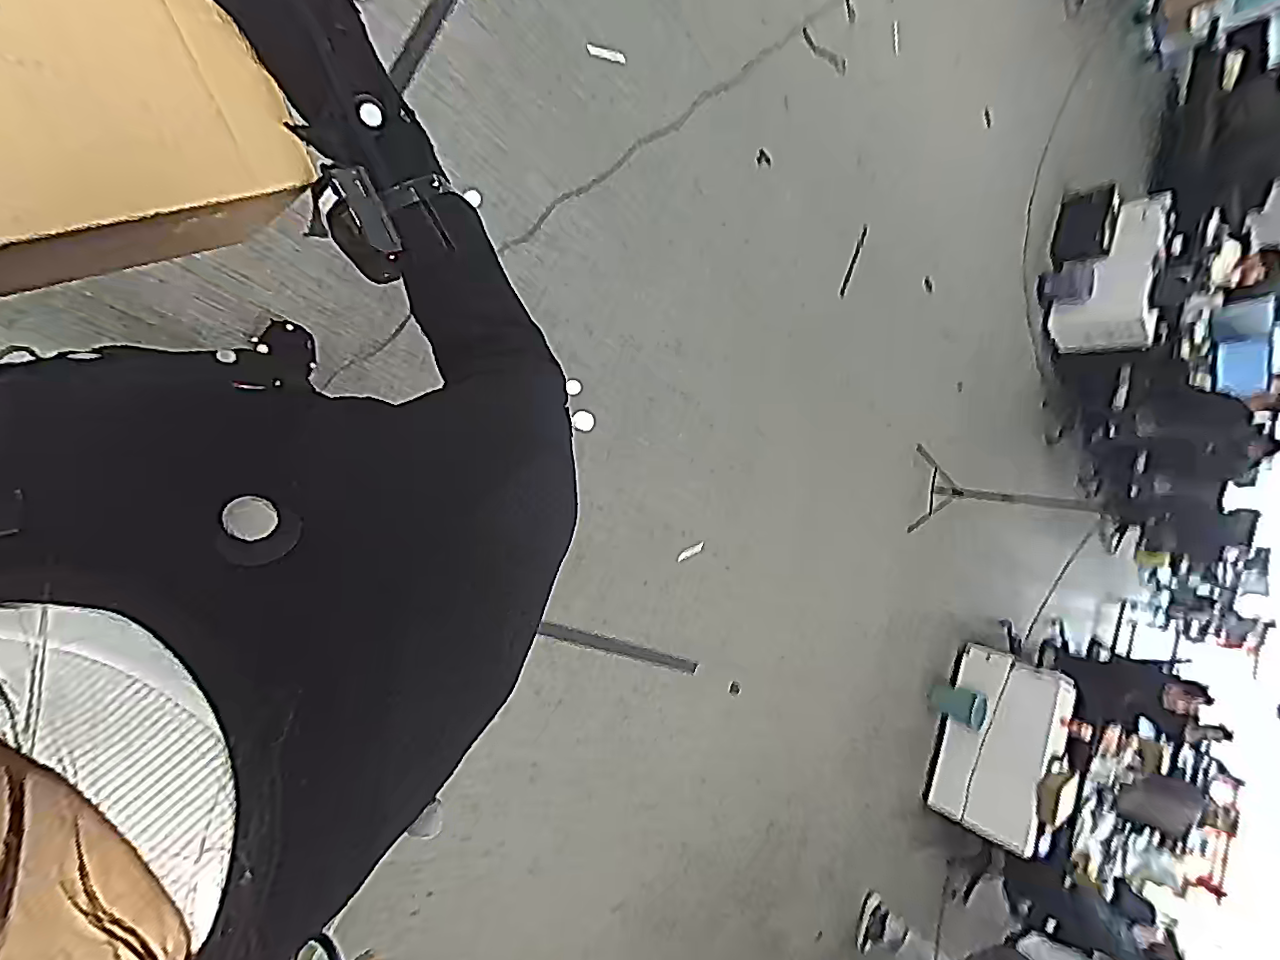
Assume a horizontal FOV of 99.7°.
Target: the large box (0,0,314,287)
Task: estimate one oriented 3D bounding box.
[{"bbox_3d":[-0.499,-0.277,0.309,0.408,0.320,0.320,-34,124,-32],"label":"large box"}]
